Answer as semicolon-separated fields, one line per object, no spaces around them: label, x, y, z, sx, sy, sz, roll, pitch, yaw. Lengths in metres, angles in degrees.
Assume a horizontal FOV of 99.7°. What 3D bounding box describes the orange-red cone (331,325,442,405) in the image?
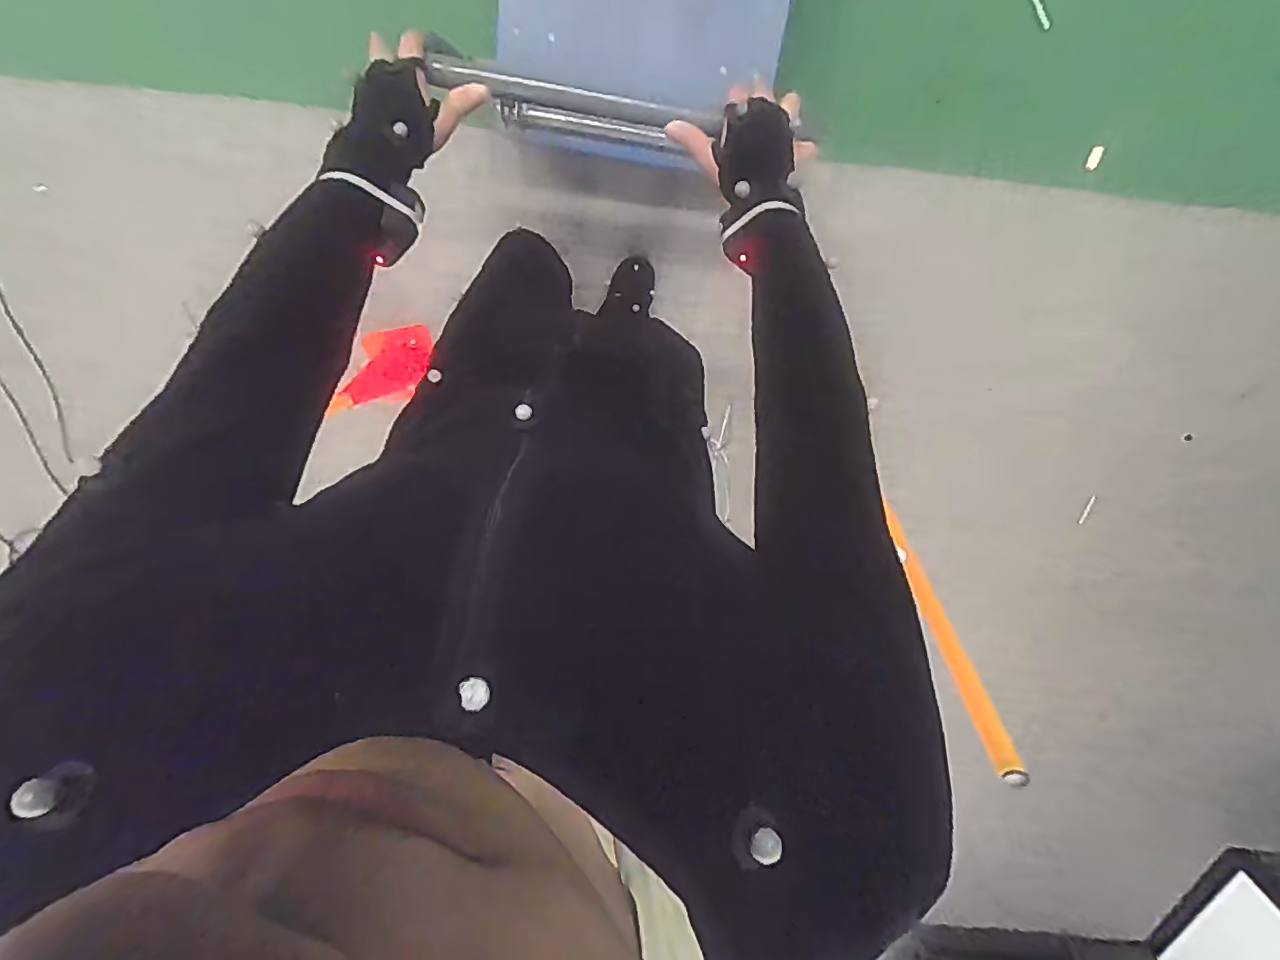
orange-red cone;-0.685;-0.261;1.390;0.199;0.360;0.198;-7;115;6
